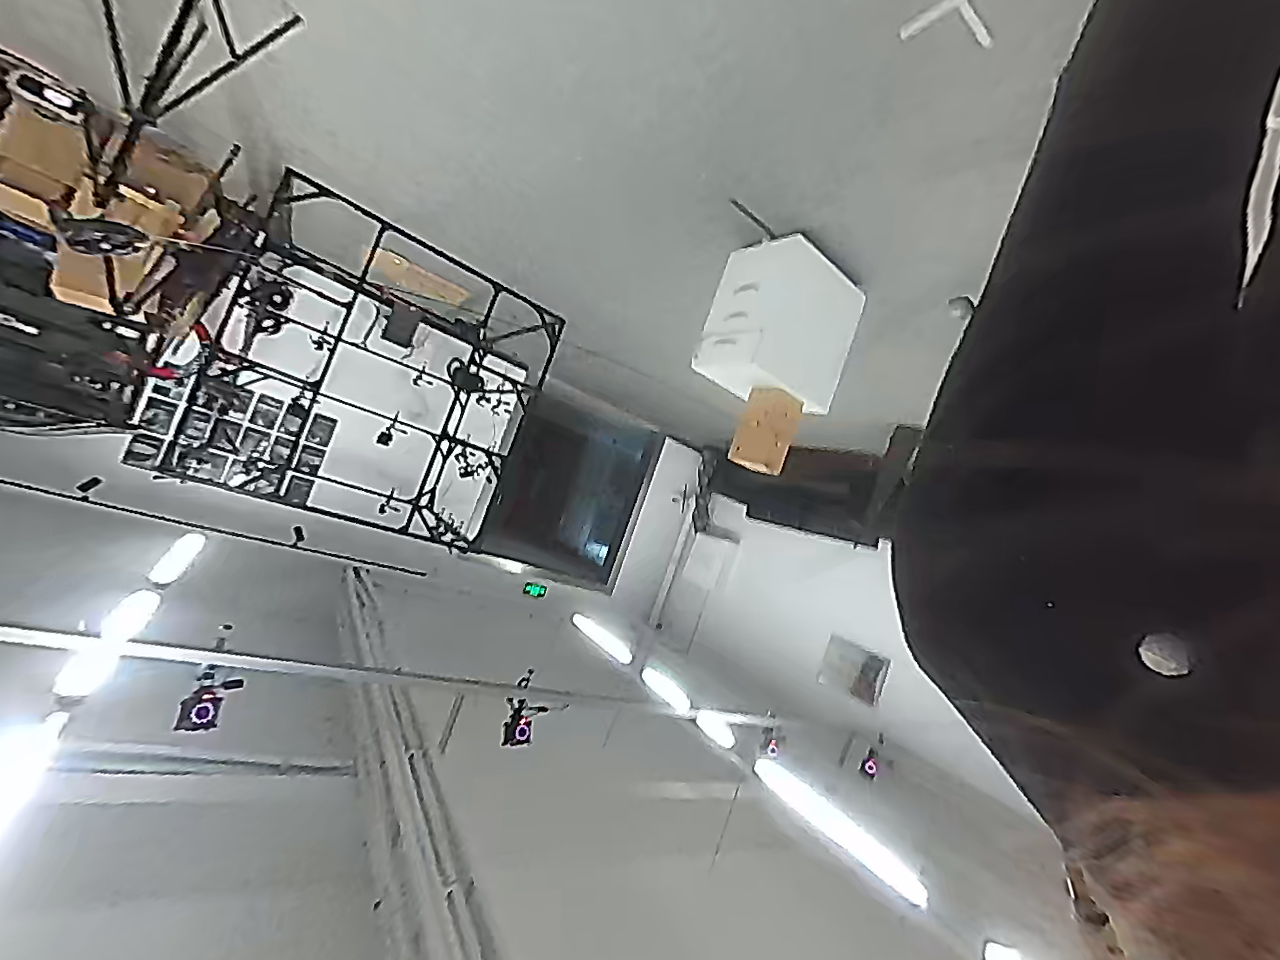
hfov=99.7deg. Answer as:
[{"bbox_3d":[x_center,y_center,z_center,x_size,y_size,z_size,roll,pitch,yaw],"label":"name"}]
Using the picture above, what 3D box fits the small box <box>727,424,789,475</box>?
[{"bbox_3d":[0.517,-0.138,2.354,0.168,0.176,0.179,21,177,-37],"label":"small box"}]
